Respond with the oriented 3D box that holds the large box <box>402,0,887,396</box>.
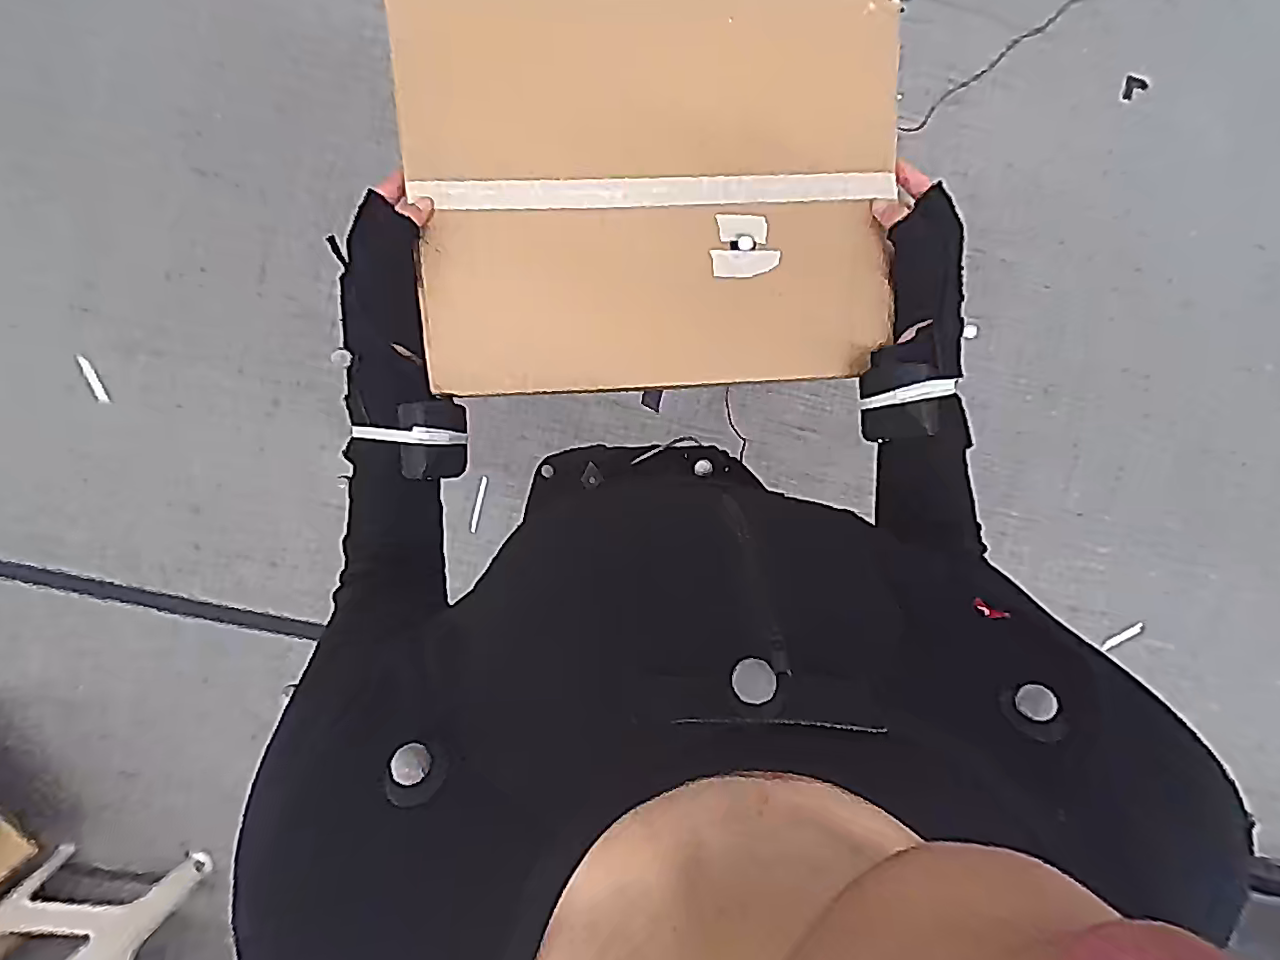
[{"bbox_3d":[0.000,-0.263,0.606,0.408,0.320,0.320,-3,101,-6],"label":"large box"}]
